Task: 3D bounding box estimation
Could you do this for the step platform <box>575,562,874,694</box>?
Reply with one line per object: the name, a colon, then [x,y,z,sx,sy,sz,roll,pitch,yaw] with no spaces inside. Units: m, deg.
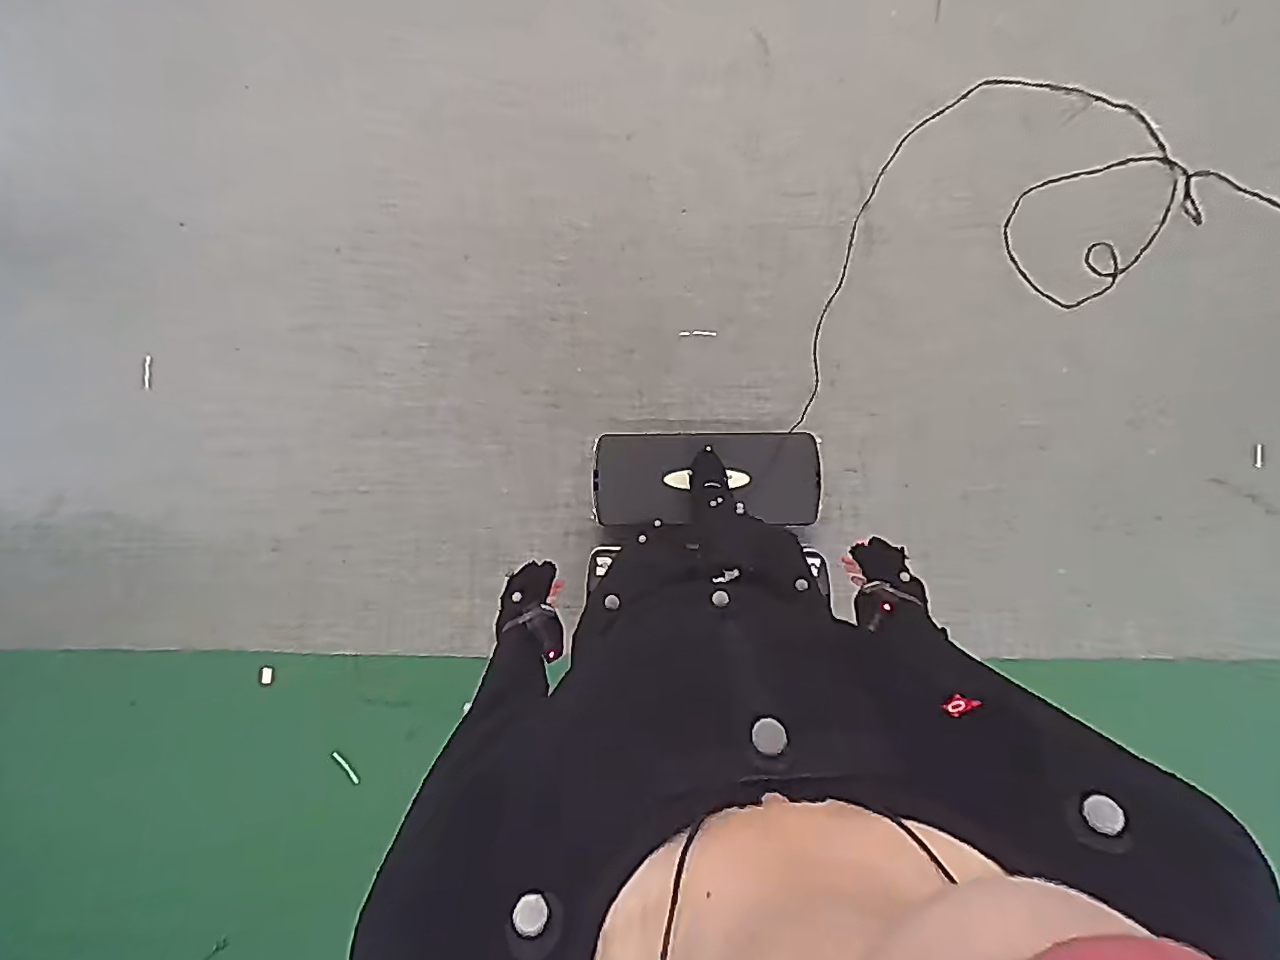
step platform: [0.193,0.348,1.327,0.684,0.204,0.286,0,87,0]
